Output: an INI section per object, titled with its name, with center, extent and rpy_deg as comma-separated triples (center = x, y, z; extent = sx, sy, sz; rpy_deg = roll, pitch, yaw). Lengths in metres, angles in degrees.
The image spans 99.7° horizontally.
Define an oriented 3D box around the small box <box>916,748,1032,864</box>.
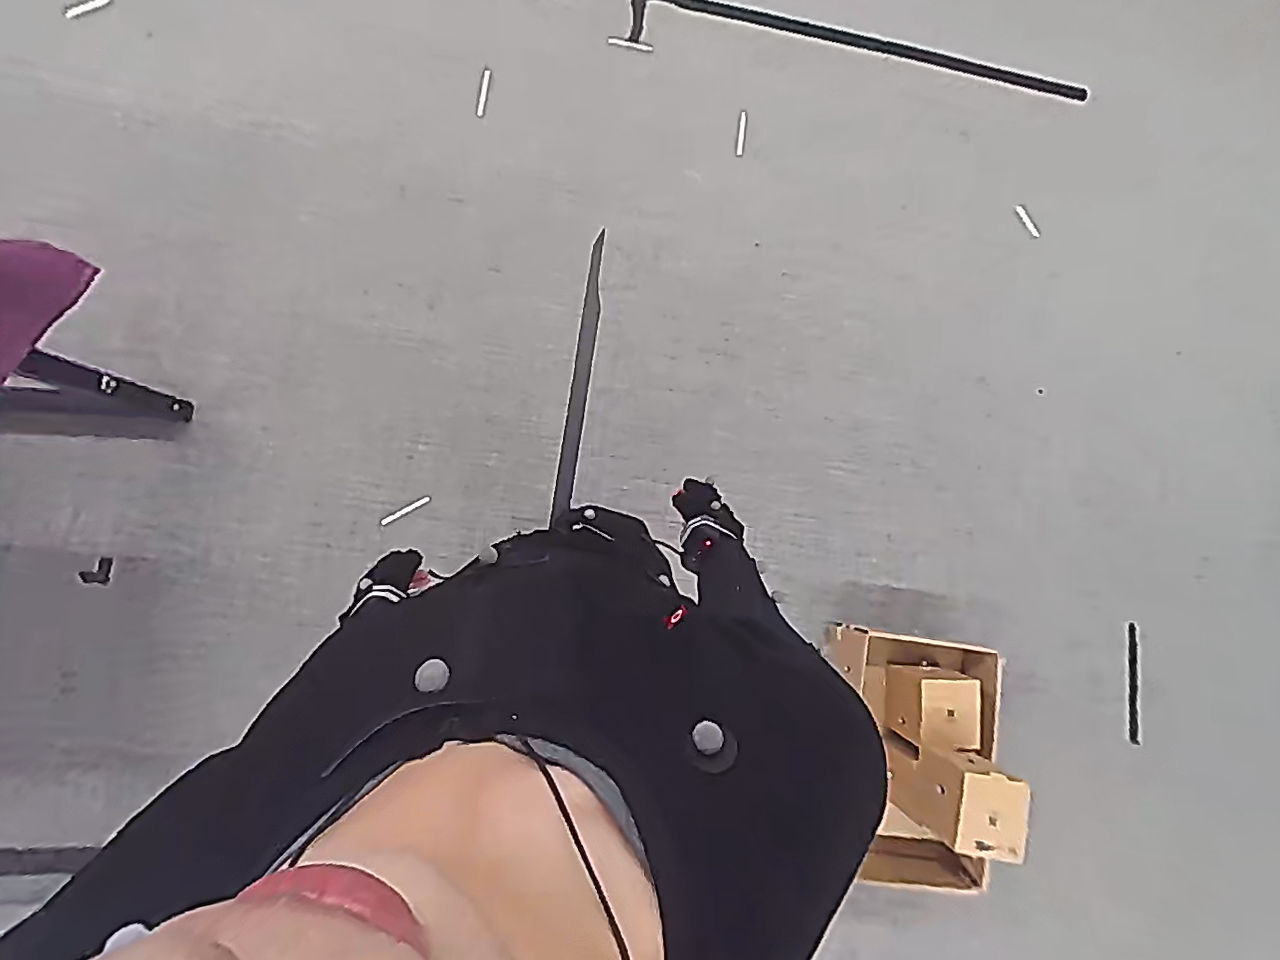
[small box]
center = 0.784, 0.762, 1.283
extent = 0.168, 0.176, 0.179
rpy_deg = 13, 81, -4
